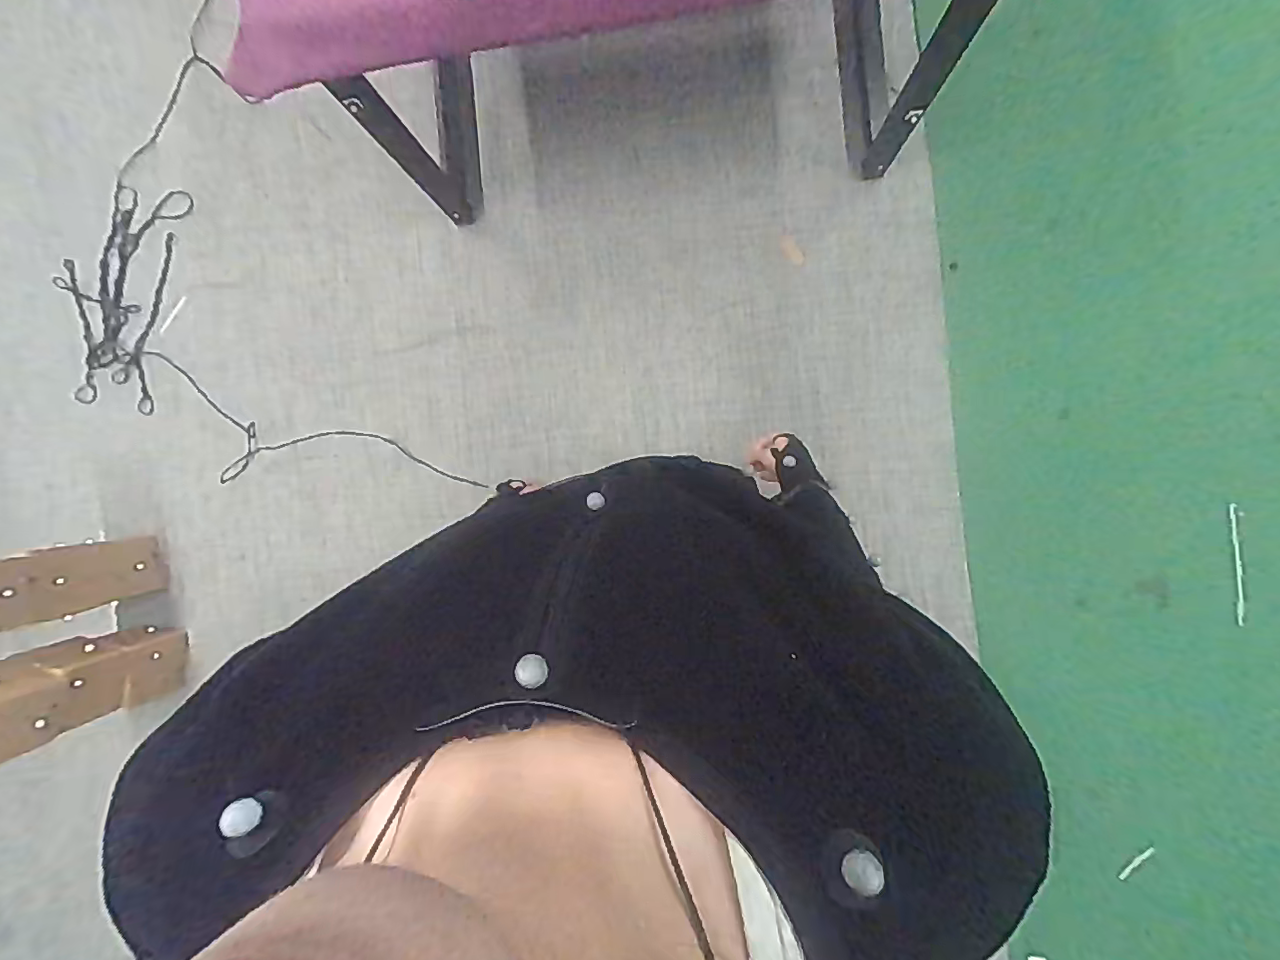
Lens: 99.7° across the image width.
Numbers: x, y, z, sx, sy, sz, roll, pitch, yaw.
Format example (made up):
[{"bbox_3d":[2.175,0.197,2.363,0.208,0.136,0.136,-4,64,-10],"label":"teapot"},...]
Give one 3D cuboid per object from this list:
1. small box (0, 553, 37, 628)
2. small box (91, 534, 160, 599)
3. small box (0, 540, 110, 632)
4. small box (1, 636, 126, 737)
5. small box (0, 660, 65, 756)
[{"bbox_3d":[-1.546,0.269,1.234,0.179,0.176,0.168,-9,91,3],"label":"small box"},{"bbox_3d":[-1.540,0.260,1.560,0.179,0.176,0.168,-13,90,5],"label":"small box"},{"bbox_3d":[-1.539,0.269,1.397,0.168,0.176,0.179,-17,90,4],"label":"small box"},{"bbox_3d":[-1.497,0.527,1.402,0.168,0.176,0.179,12,91,5],"label":"small box"},{"bbox_3d":[-1.502,0.532,1.238,0.179,0.176,0.168,17,92,4],"label":"small box"}]
